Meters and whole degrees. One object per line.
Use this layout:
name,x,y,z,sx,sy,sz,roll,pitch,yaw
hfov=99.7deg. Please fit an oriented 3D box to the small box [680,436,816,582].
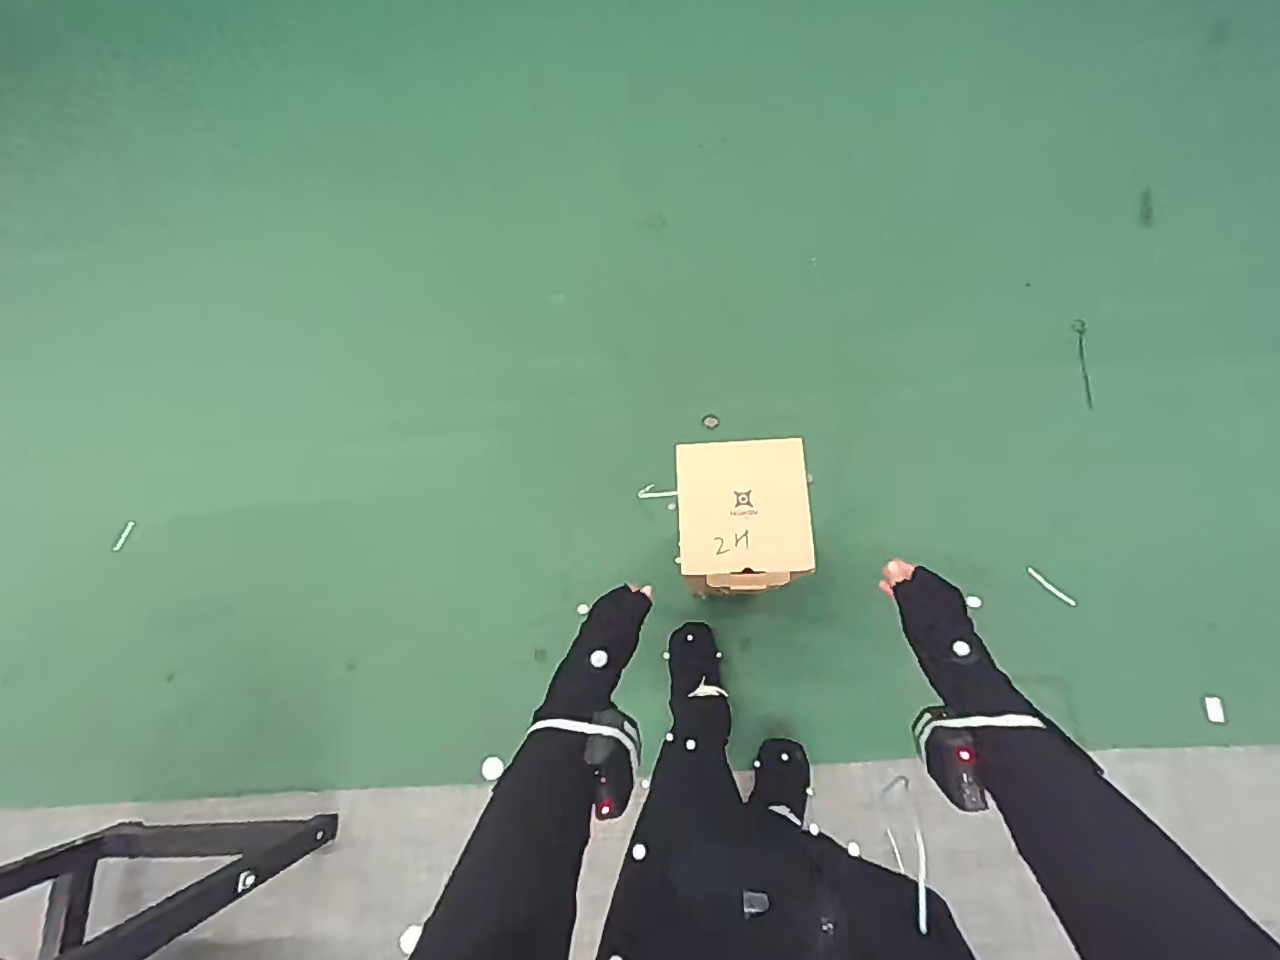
small box,0.141,0.049,0.764,0.168,0.176,0.179,-3,76,5

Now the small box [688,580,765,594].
small box,0.191,0.167,1.240,0.168,0.176,0.179,-5,78,5
